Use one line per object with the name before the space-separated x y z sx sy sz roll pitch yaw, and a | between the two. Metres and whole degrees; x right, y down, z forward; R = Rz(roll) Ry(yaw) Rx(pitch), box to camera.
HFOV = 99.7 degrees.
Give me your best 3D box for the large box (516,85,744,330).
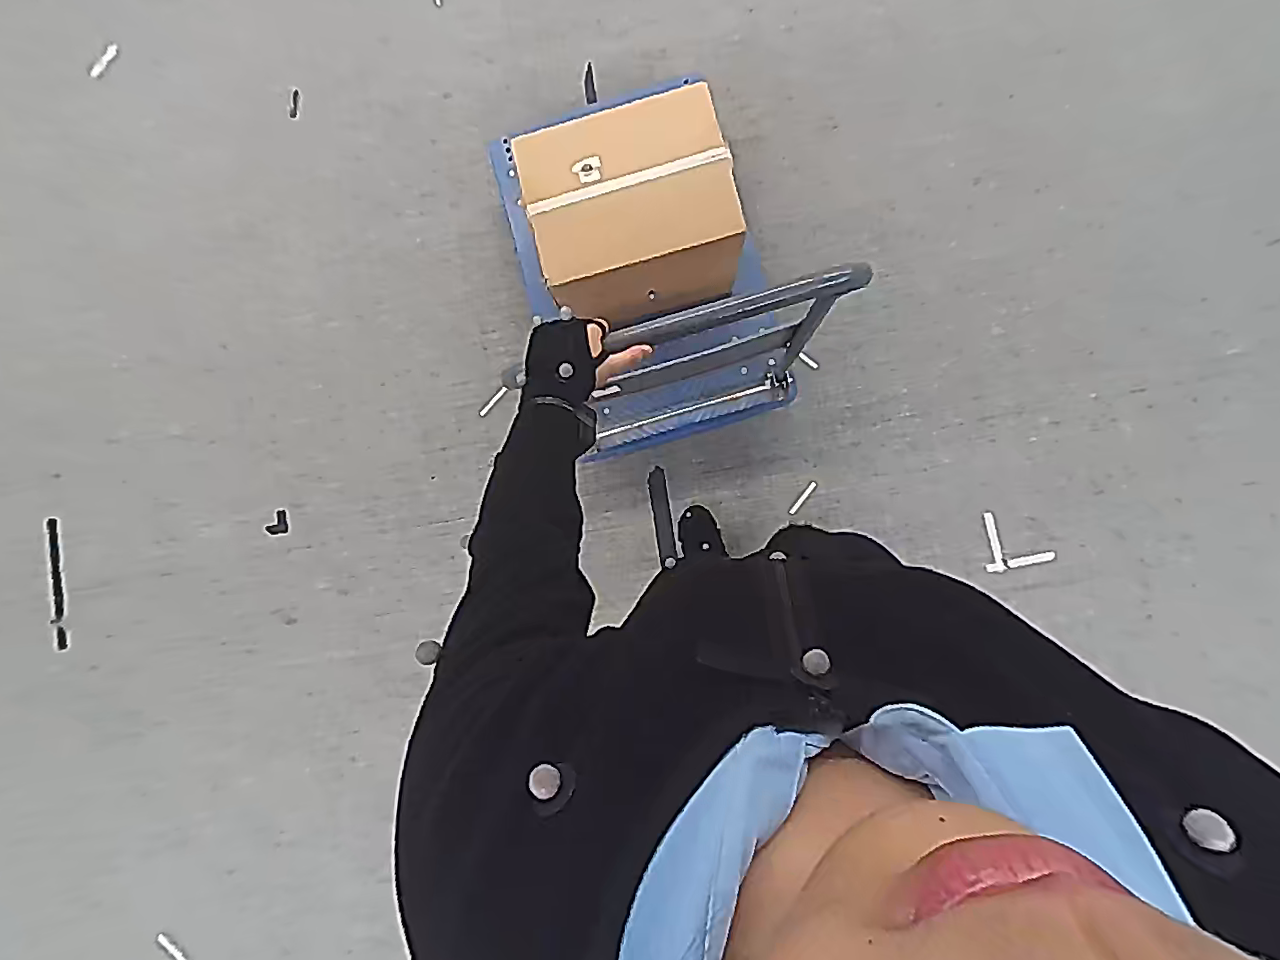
large box | -0.010 -0.577 1.217 0.408 0.320 0.320 -14 86 5
